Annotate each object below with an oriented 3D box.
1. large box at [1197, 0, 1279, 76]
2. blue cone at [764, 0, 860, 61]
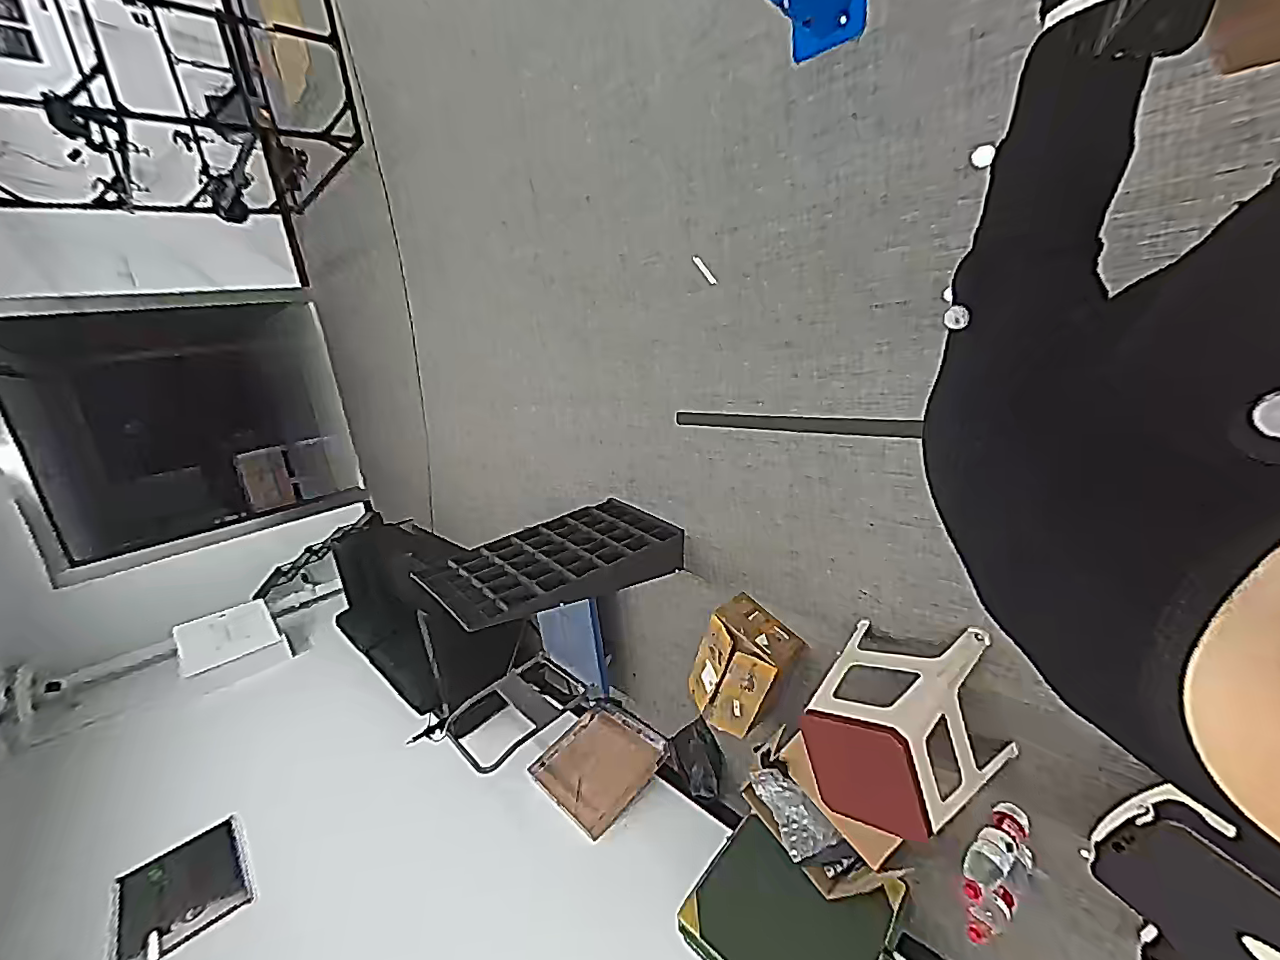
[{"bbox_3d":[0.548,-0.444,0.226,0.408,0.320,0.320,14,118,45],"label":"large box"},{"bbox_3d":[0.340,-1.145,1.254,0.192,0.380,0.193,15,117,47],"label":"blue cone"}]
